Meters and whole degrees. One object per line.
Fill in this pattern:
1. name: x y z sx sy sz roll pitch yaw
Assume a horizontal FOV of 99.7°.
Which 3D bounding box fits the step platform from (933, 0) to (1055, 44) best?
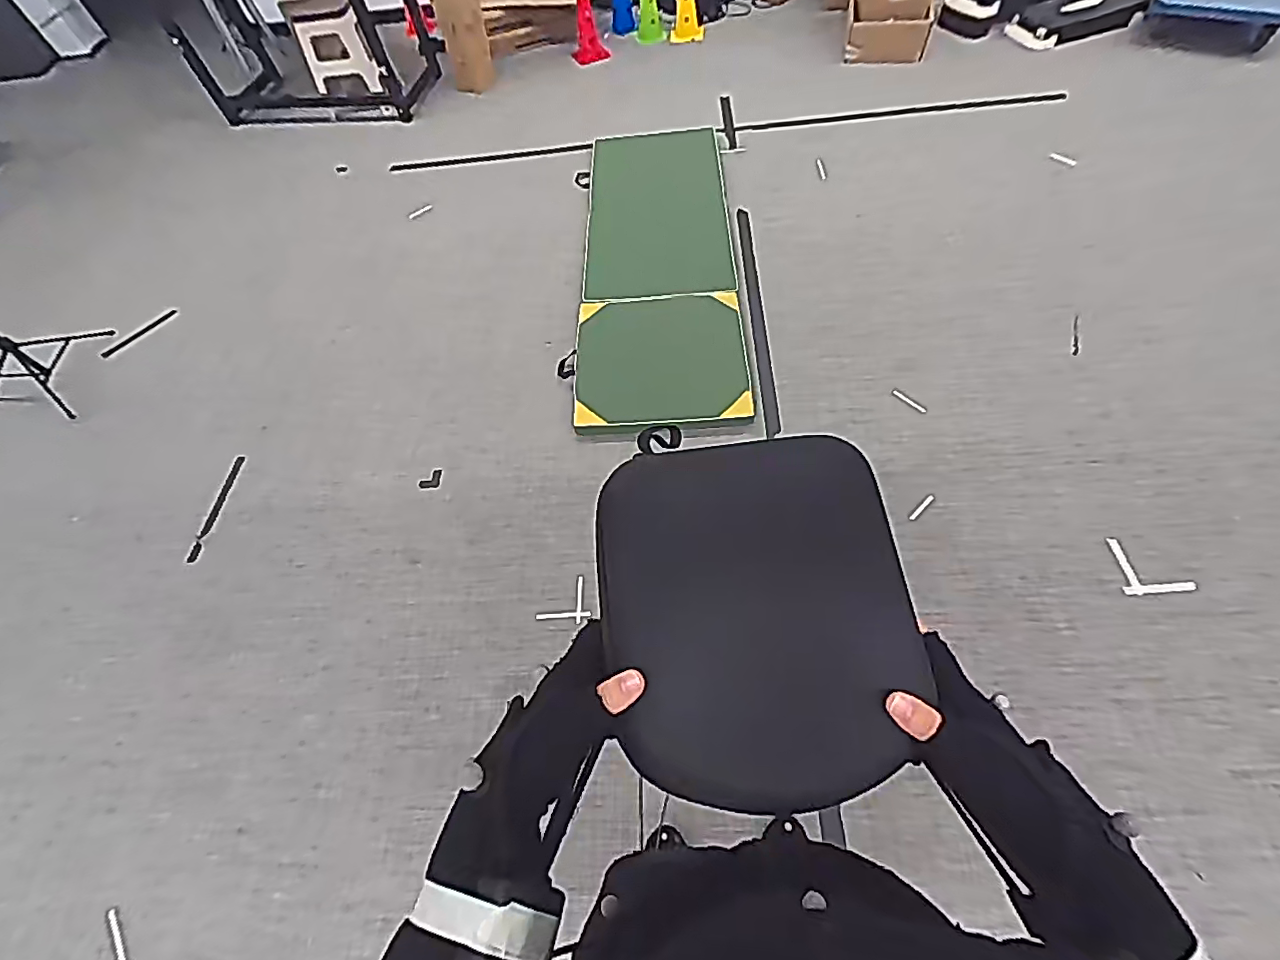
1. step platform: 1.996 -2.674 3.000 0.684 0.204 0.286 -29 60 -10
